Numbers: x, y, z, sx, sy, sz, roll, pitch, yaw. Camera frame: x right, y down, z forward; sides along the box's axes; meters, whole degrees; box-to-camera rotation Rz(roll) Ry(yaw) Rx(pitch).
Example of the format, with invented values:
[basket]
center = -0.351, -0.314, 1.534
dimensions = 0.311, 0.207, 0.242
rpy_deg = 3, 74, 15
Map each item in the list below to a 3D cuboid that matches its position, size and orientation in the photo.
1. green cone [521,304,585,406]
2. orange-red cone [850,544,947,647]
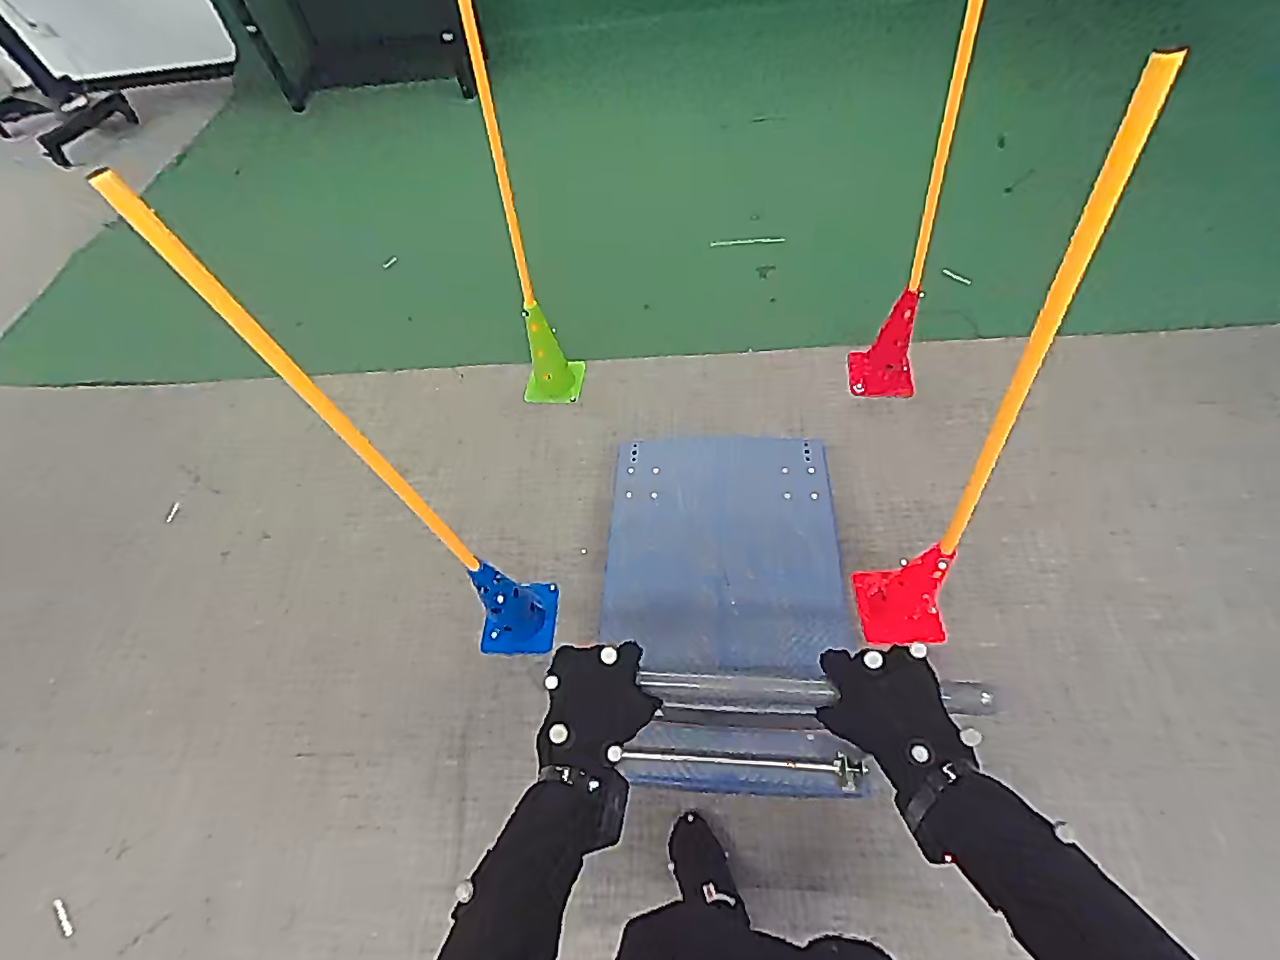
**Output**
[green cone]
center = -0.328, -0.445, 1.841
dimensions = 0.202, 0.368, 0.200
rpy_deg = 2, 57, 9
[orange-red cone]
center = 0.648, 0.248, 1.286
dimensions = 0.199, 0.360, 0.198
rpy_deg = -3, 56, 7
